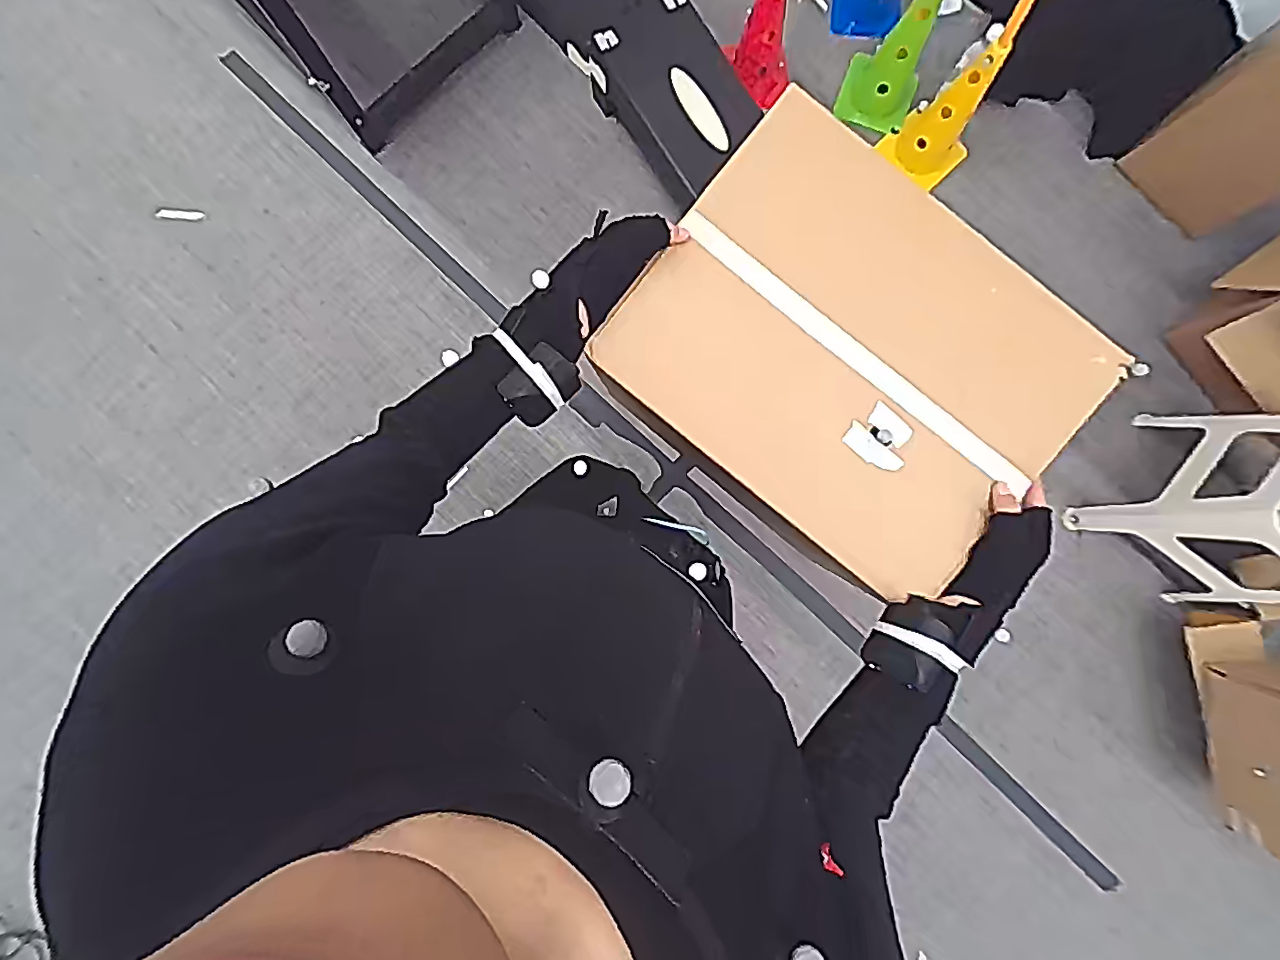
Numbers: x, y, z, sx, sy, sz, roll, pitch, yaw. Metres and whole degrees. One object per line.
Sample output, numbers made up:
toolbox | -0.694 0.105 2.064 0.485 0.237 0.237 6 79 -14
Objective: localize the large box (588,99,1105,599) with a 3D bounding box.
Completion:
large box | 0.196 -0.128 0.664 0.408 0.320 0.320 39 93 -1
